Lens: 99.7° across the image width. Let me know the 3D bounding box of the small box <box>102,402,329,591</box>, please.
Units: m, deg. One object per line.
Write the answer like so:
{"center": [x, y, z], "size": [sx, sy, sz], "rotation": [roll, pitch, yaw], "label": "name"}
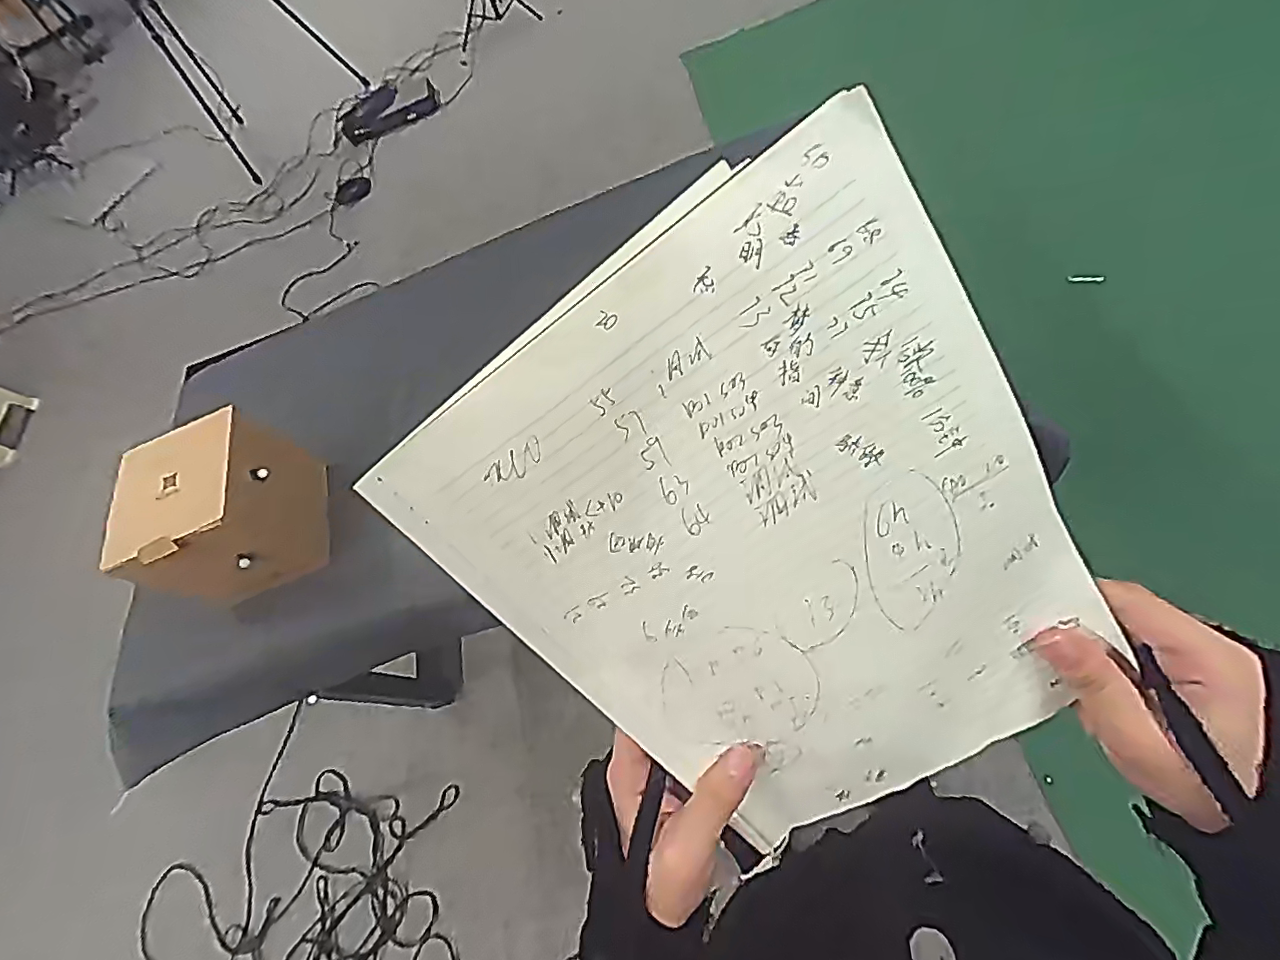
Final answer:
{"center": [-0.546, 0.034, 0.723], "size": [0.168, 0.176, 0.179], "rotation": [-22, 60, 4], "label": "small box"}
